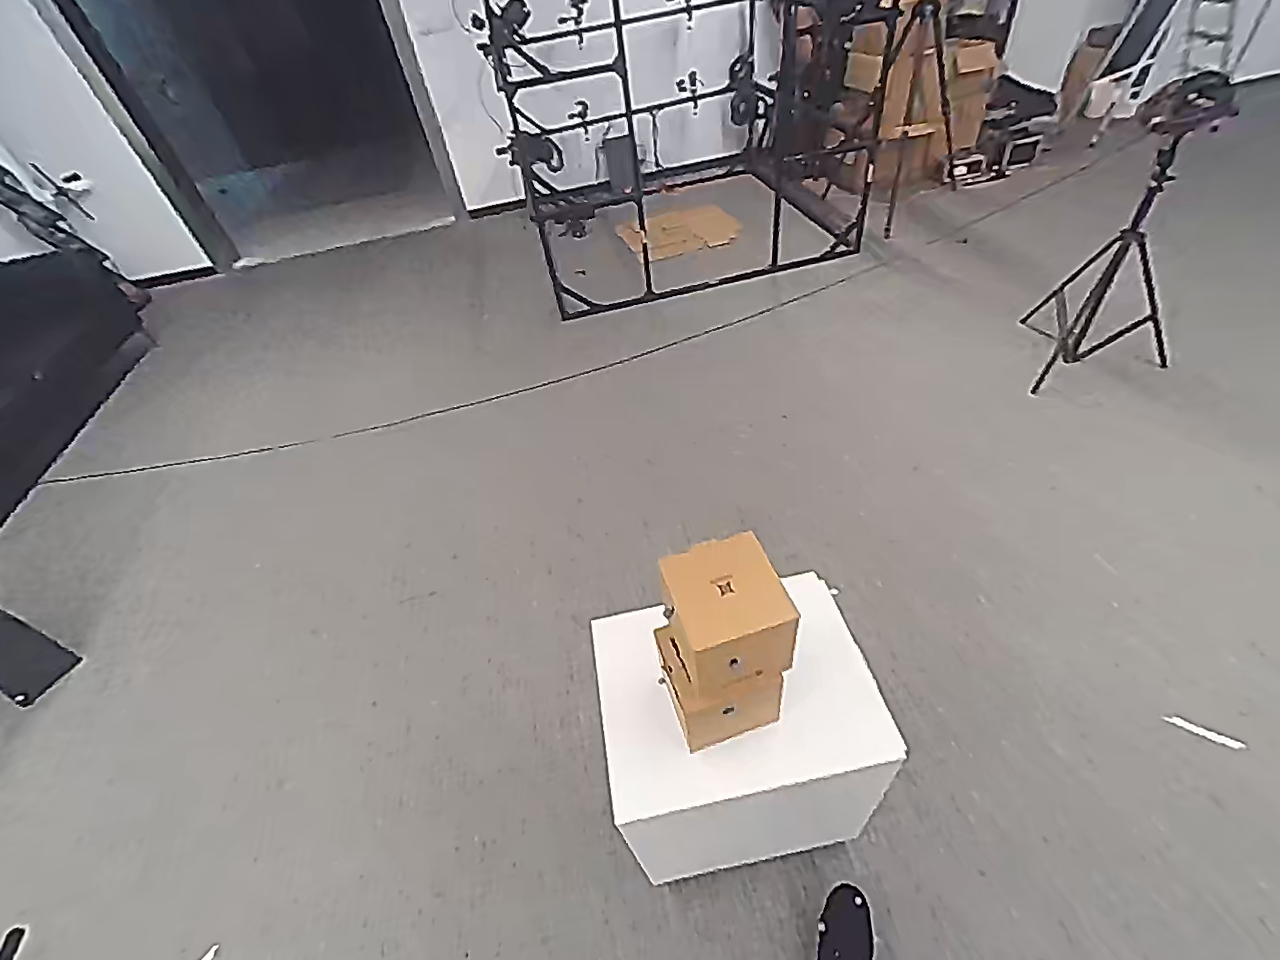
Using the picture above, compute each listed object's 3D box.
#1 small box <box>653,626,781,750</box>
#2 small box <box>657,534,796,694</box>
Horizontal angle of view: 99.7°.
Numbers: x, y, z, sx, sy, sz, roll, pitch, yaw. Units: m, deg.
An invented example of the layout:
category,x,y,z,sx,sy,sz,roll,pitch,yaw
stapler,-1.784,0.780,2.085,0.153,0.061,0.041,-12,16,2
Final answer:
category,x,y,z,sx,sy,sz,roll,pitch,yaw
small box,0.138,0.356,0.975,0.179,0.176,0.168,-17,44,-8
small box,0.137,0.223,0.877,0.168,0.176,0.179,-16,43,-7
